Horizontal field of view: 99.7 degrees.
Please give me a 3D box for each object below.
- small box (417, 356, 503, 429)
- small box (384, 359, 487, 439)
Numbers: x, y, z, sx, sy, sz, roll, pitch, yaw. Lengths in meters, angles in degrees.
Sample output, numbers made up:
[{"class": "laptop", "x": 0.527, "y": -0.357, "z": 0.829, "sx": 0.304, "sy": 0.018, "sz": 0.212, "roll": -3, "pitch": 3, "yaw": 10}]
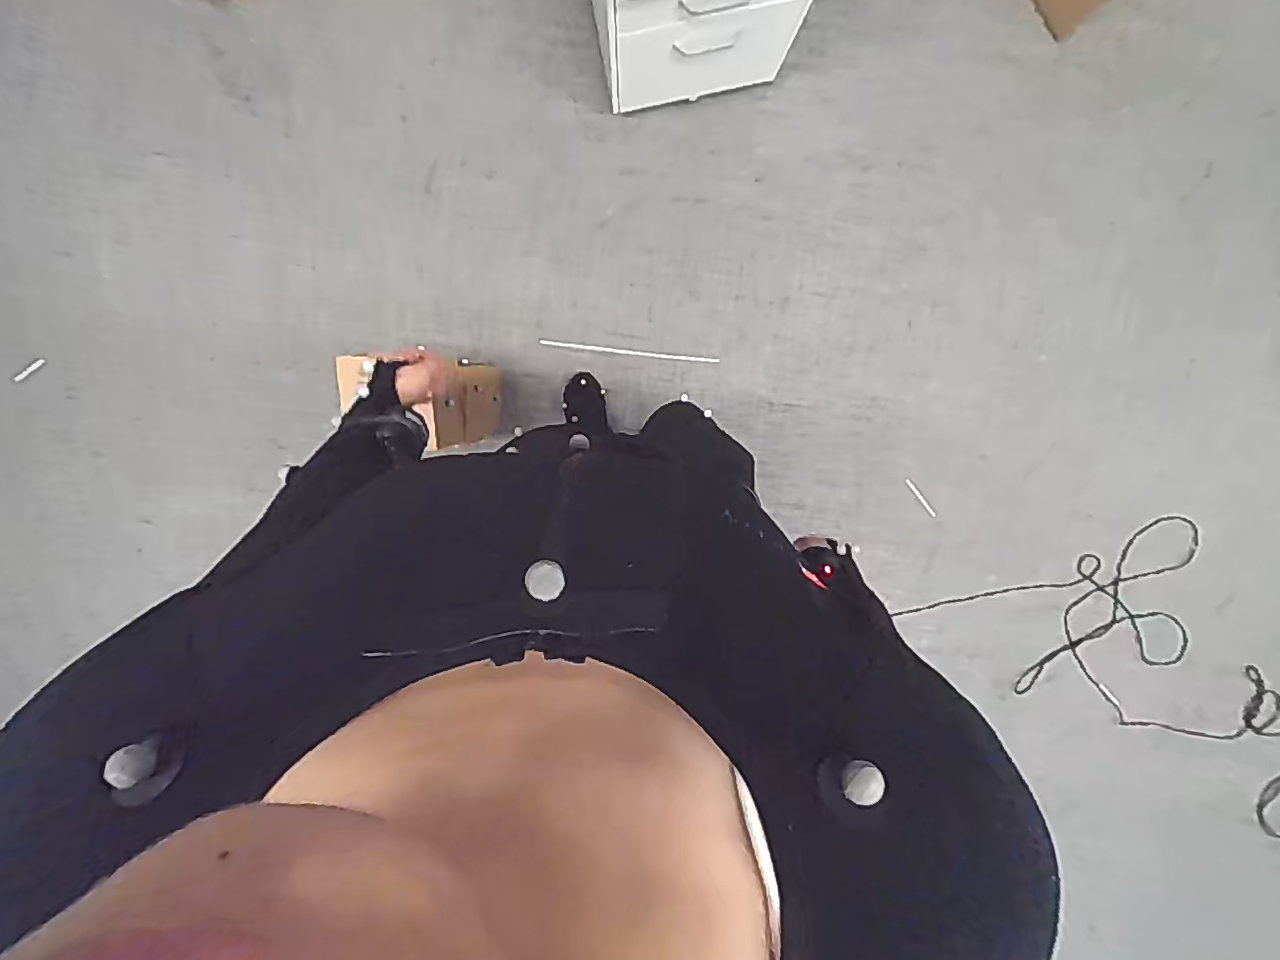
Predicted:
[{"class": "small box", "x": -0.452, "y": -0.224, "z": 1.377, "sx": 0.179, "sy": 0.176, "sz": 0.168, "roll": 4, "pitch": 100, "yaw": -2}, {"class": "small box", "x": -0.449, "y": -0.184, "z": 1.219, "sx": 0.179, "sy": 0.176, "sz": 0.168, "roll": 1, "pitch": 99, "yaw": 0}]
